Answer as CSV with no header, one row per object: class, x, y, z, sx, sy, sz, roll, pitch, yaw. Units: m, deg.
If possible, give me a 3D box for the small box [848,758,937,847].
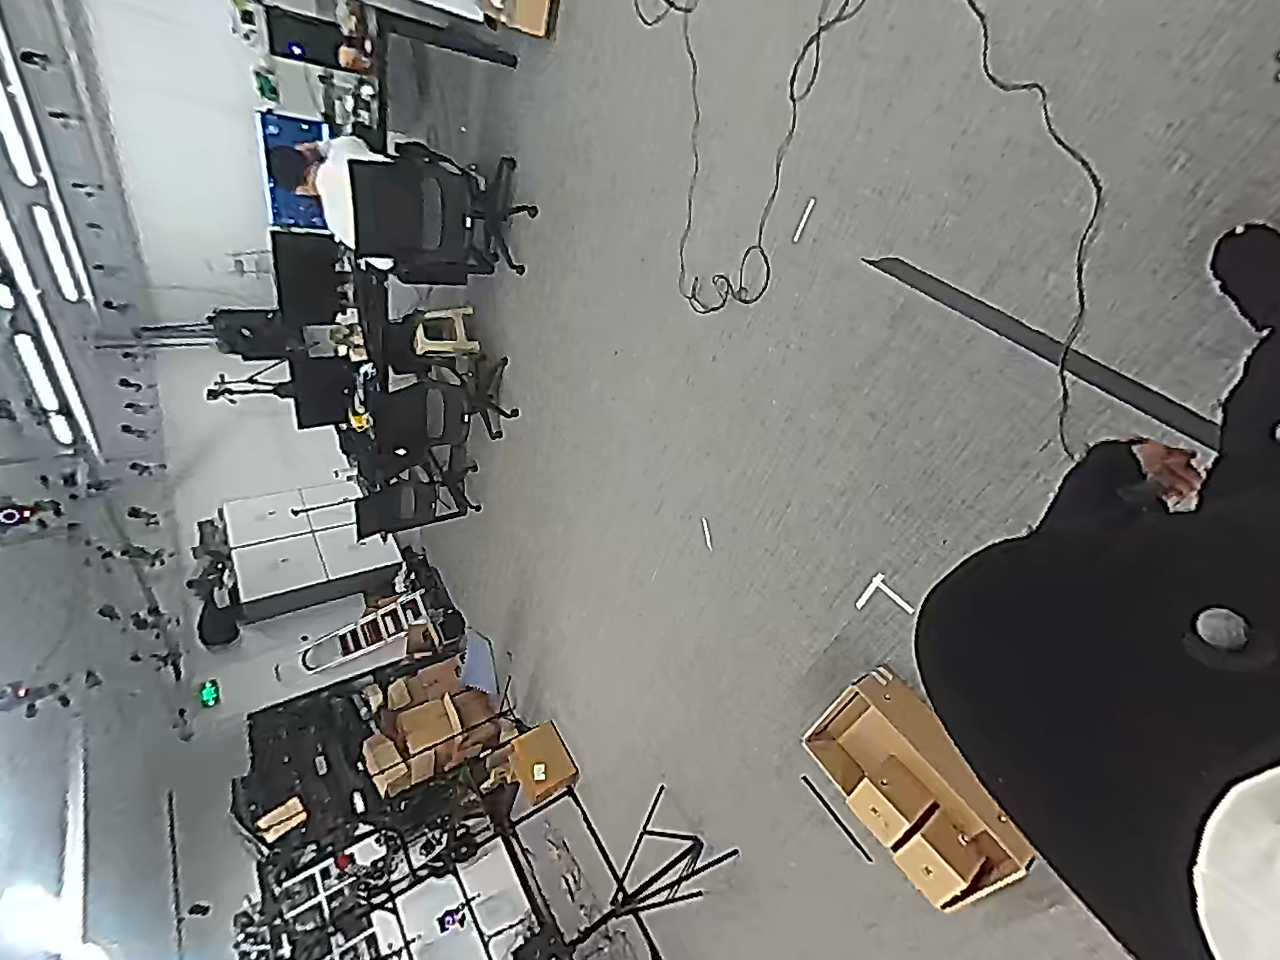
small box,0.843,1.065,1.804,0.179,0.176,0.168,44,132,38
